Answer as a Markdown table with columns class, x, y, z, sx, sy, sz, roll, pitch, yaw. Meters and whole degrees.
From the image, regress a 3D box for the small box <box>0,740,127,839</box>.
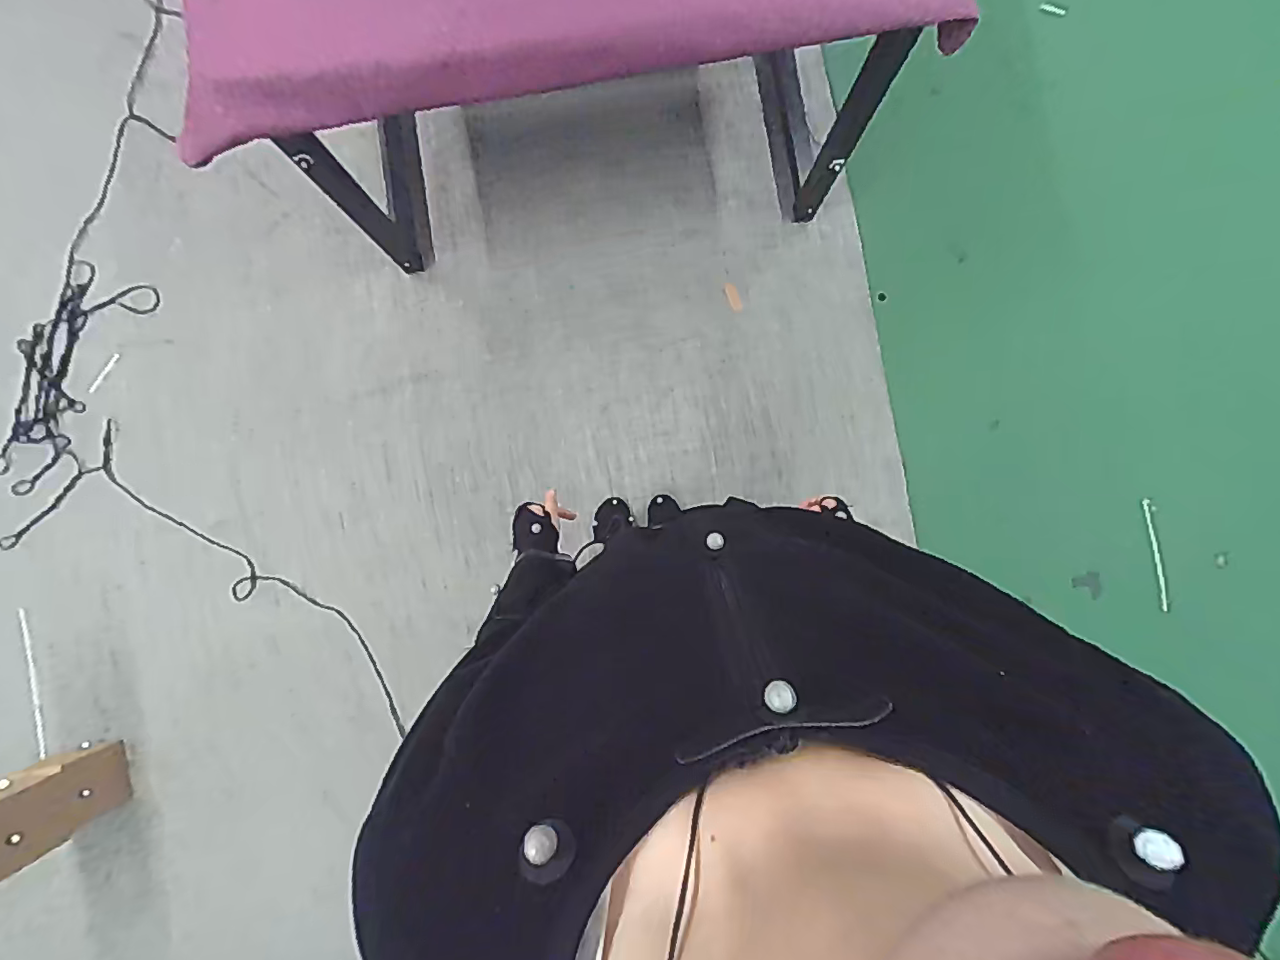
| class | x | y | z | sx | sy | sz | roll | pitch | yaw |
| --- | --- | --- | --- | --- | --- | --- | --- | --- | --- |
| small box | -1.501 | 0.814 | 1.414 | 0.168 | 0.176 | 0.179 | -11 | 87 | 0 |

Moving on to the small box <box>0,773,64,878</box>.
| class | x | y | z | sx | sy | sz | roll | pitch | yaw |
| --- | --- | --- | --- | --- | --- | --- | --- | --- | --- |
| small box | -1.501 | 0.816 | 1.249 | 0.168 | 0.176 | 0.179 | -10 | 87 | -1 |
